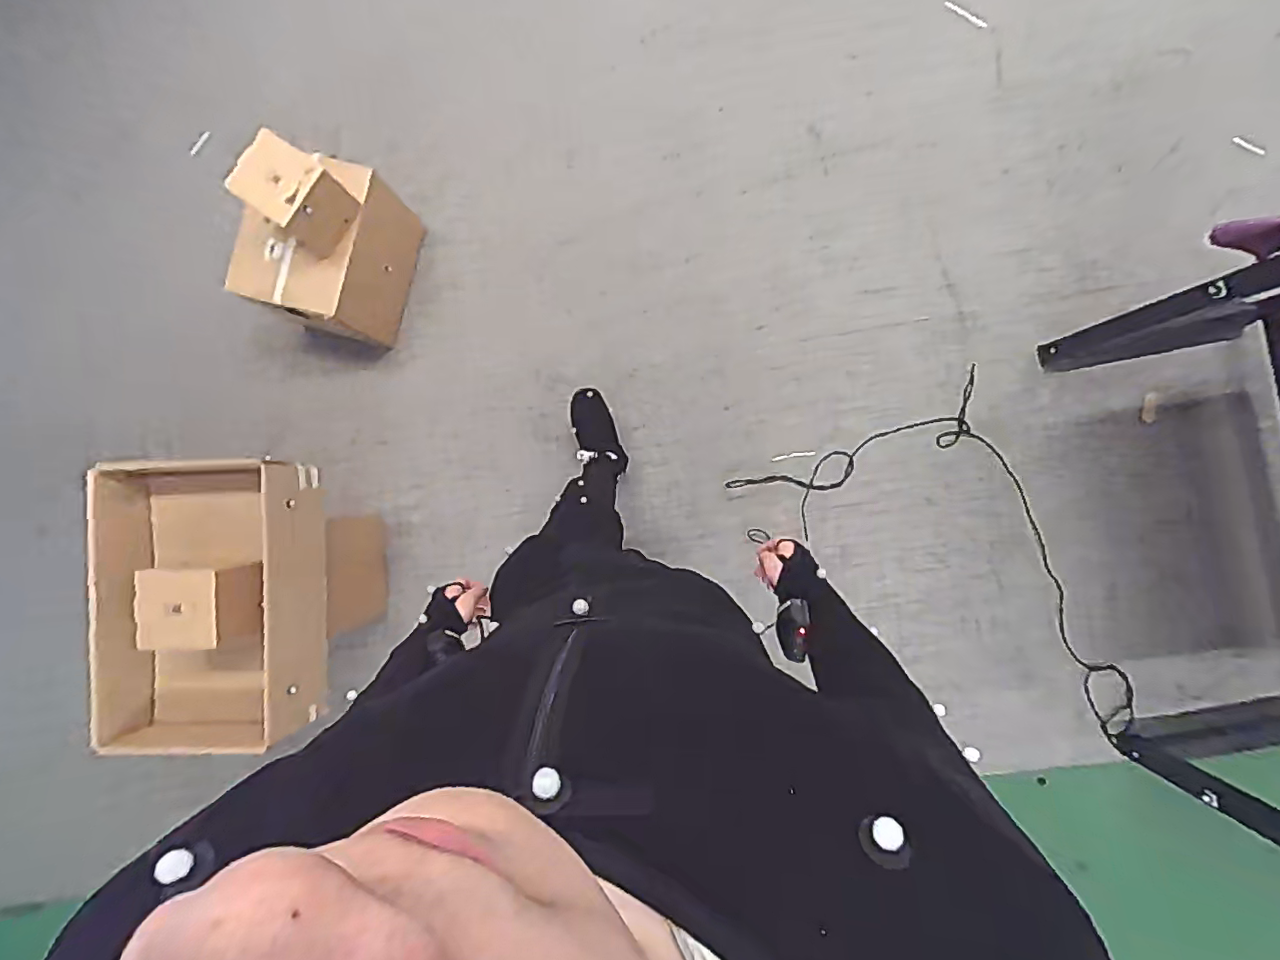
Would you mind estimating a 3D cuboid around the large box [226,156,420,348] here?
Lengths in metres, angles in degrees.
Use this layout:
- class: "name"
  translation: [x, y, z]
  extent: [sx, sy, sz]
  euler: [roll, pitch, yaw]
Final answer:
- class: "large box"
  translation: [-0.876, -0.637, 1.542]
  extent: [0.320, 0.320, 0.408]
  euler: [14, 91, 4]

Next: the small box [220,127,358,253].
- class: "small box"
  translation: [-0.828, -0.681, 1.293]
  extent: [0.179, 0.176, 0.168]
  euler: [34, 91, 2]
